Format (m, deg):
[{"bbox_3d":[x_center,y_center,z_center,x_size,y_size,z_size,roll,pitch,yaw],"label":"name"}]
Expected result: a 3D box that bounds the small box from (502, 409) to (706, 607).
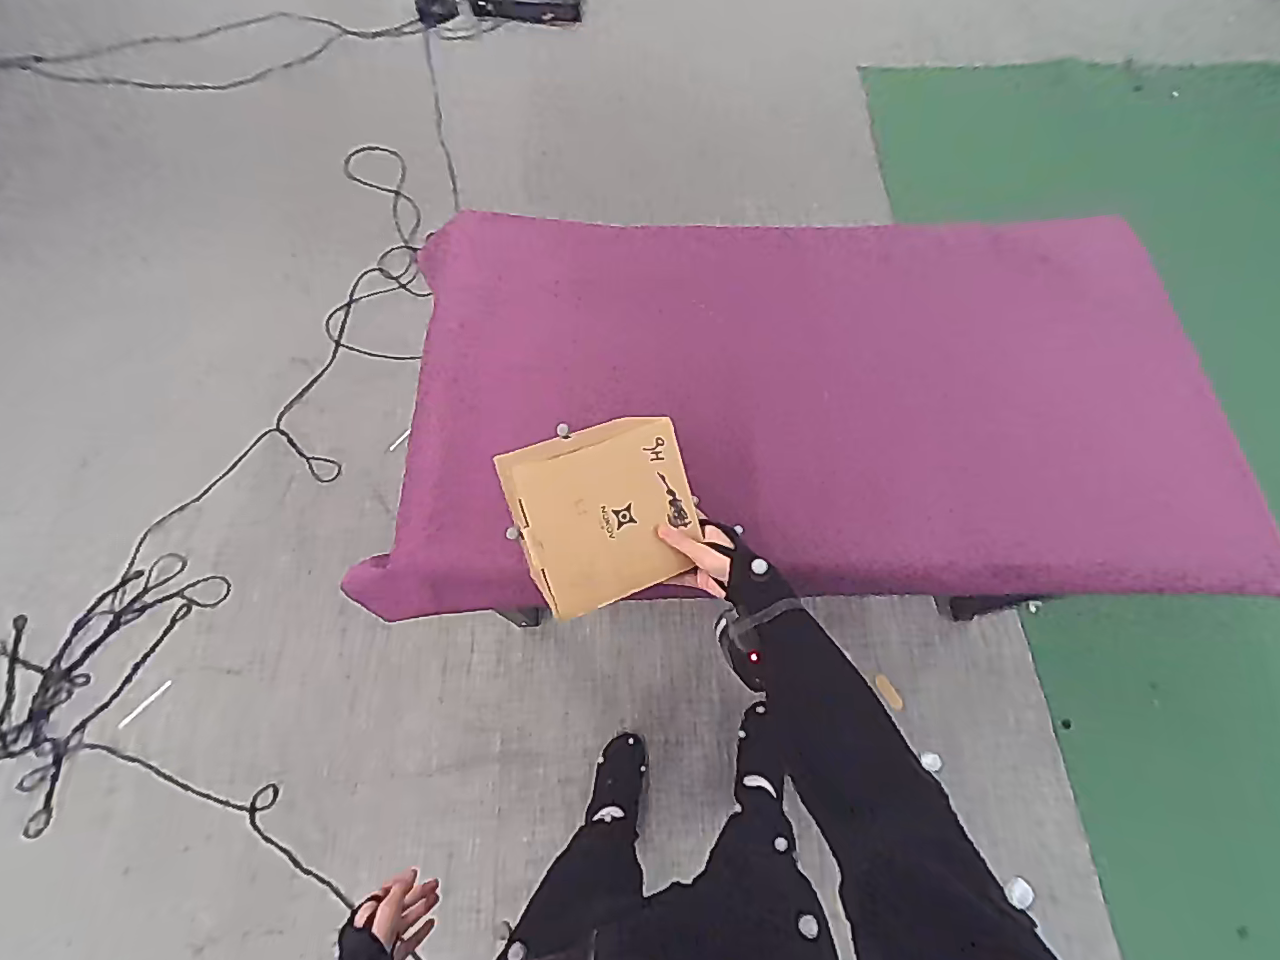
[{"bbox_3d":[-0.052,0.020,0.620,0.179,0.176,0.168,-17,102,-19],"label":"small box"}]
